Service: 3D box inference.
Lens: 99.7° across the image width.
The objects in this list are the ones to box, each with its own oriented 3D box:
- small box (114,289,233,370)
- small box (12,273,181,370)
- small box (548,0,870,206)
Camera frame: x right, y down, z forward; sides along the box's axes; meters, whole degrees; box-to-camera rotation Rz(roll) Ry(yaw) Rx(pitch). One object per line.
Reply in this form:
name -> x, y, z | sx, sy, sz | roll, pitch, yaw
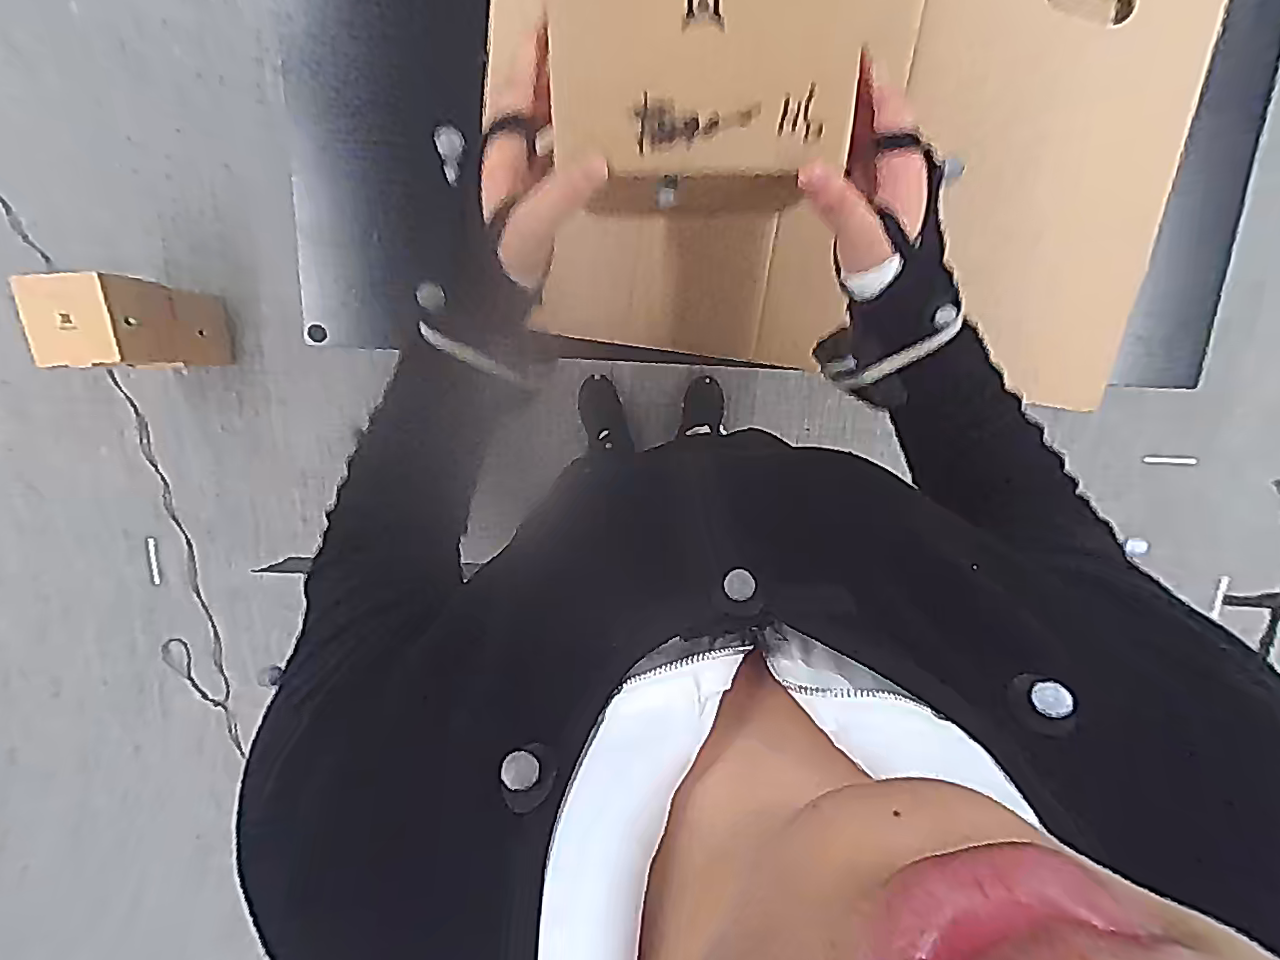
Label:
small box -> -1.124, -0.355, 1.293 | 0.168, 0.176, 0.179 | -2, 103, -2
small box -> -1.119, -0.326, 1.133 | 0.168, 0.176, 0.179 | -5, 102, -2
small box -> 0.036, -0.286, 0.343 | 0.168, 0.176, 0.179 | 1, 108, 2
